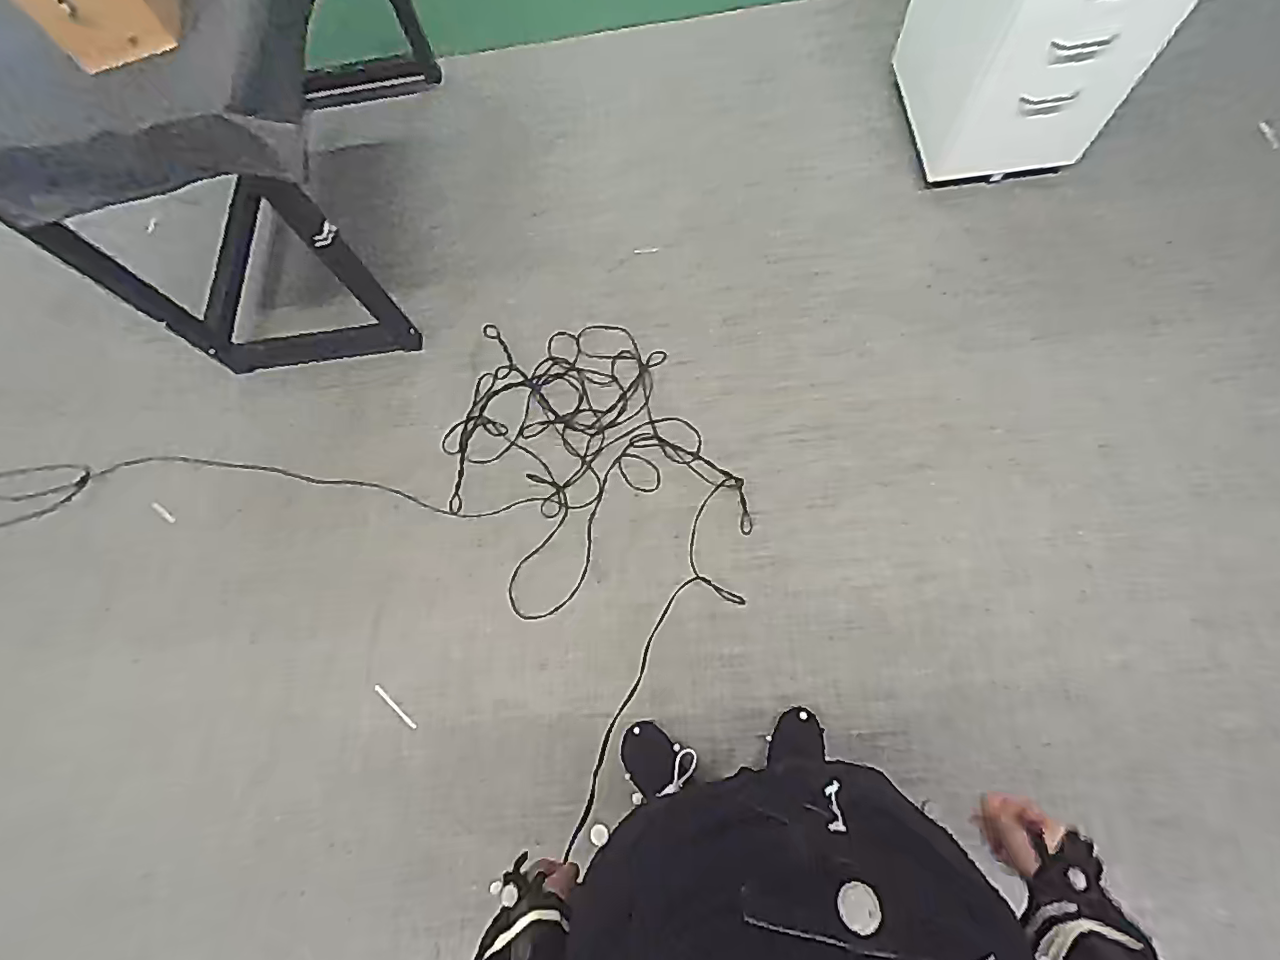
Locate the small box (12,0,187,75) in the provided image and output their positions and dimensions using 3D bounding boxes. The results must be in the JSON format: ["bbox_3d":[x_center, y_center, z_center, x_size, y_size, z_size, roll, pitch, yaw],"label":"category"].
[{"bbox_3d":[-0.911,-0.824,0.910,0.168,0.176,0.179,-18,69,0],"label":"small box"}]
